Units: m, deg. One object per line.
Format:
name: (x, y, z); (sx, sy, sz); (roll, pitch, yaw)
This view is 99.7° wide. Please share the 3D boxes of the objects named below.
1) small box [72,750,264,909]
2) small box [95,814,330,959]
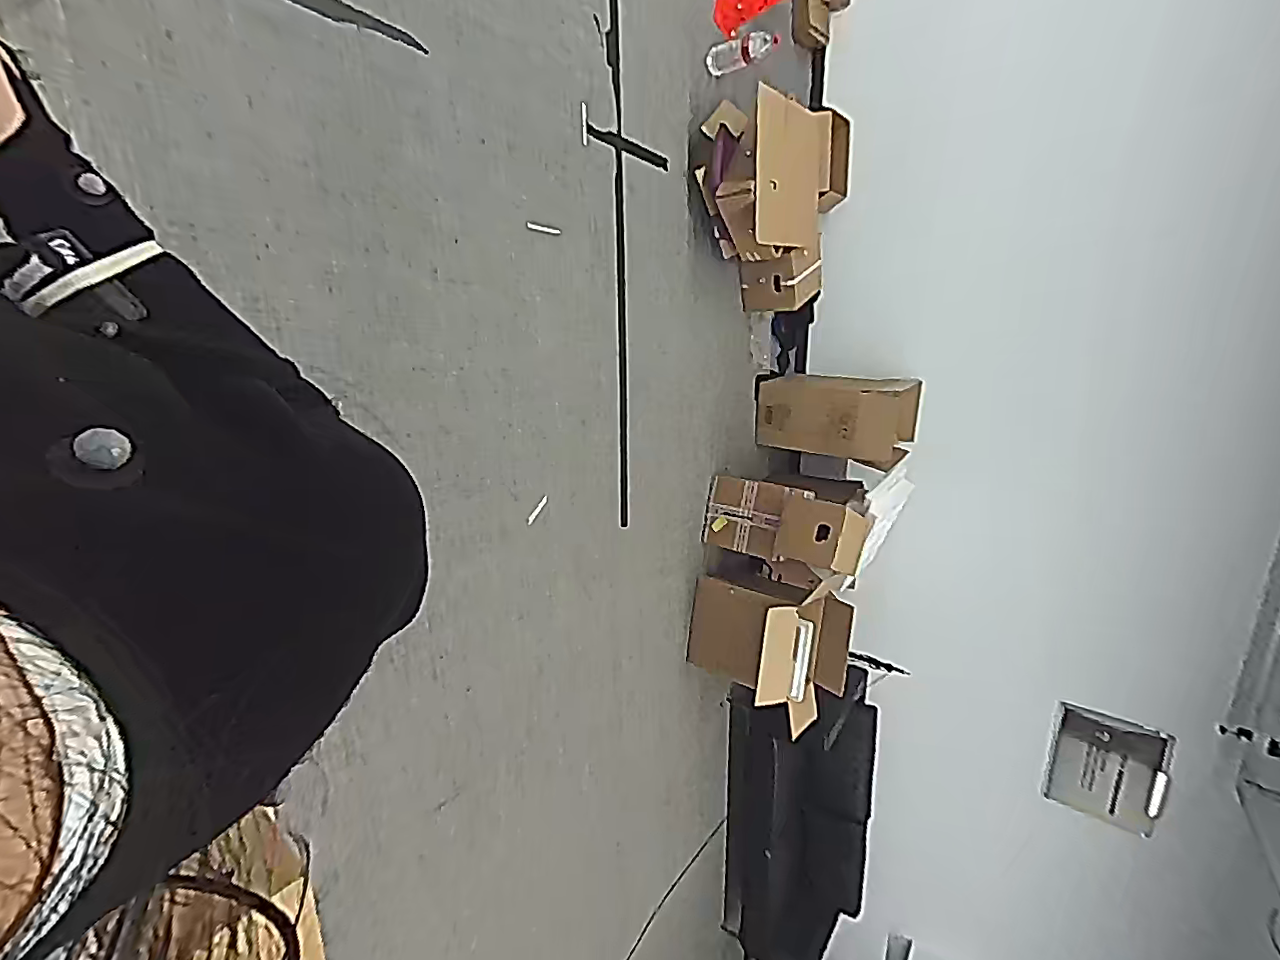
small box: (-0.618, 0.510, 0.727); (0.168, 0.176, 0.179); (-19, 113, -50)
small box: (-0.491, 0.532, 0.628); (0.168, 0.176, 0.179); (-18, 113, -50)
